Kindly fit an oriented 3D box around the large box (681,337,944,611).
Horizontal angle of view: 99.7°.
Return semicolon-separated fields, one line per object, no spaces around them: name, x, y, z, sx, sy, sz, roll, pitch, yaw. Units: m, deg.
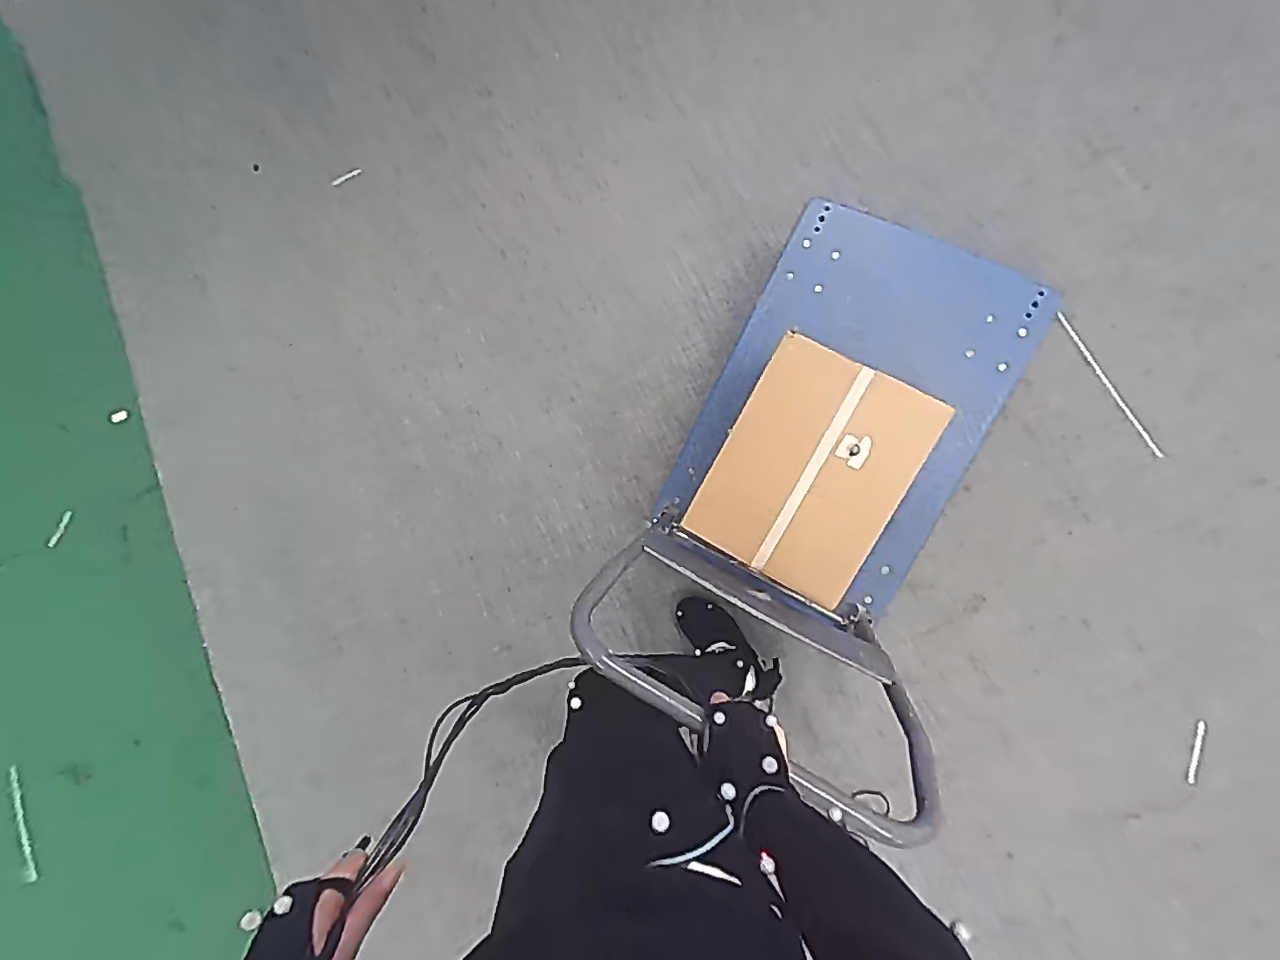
large box;0.325;-0.011;1.105;0.320;0.320;0.408;30;97;9
